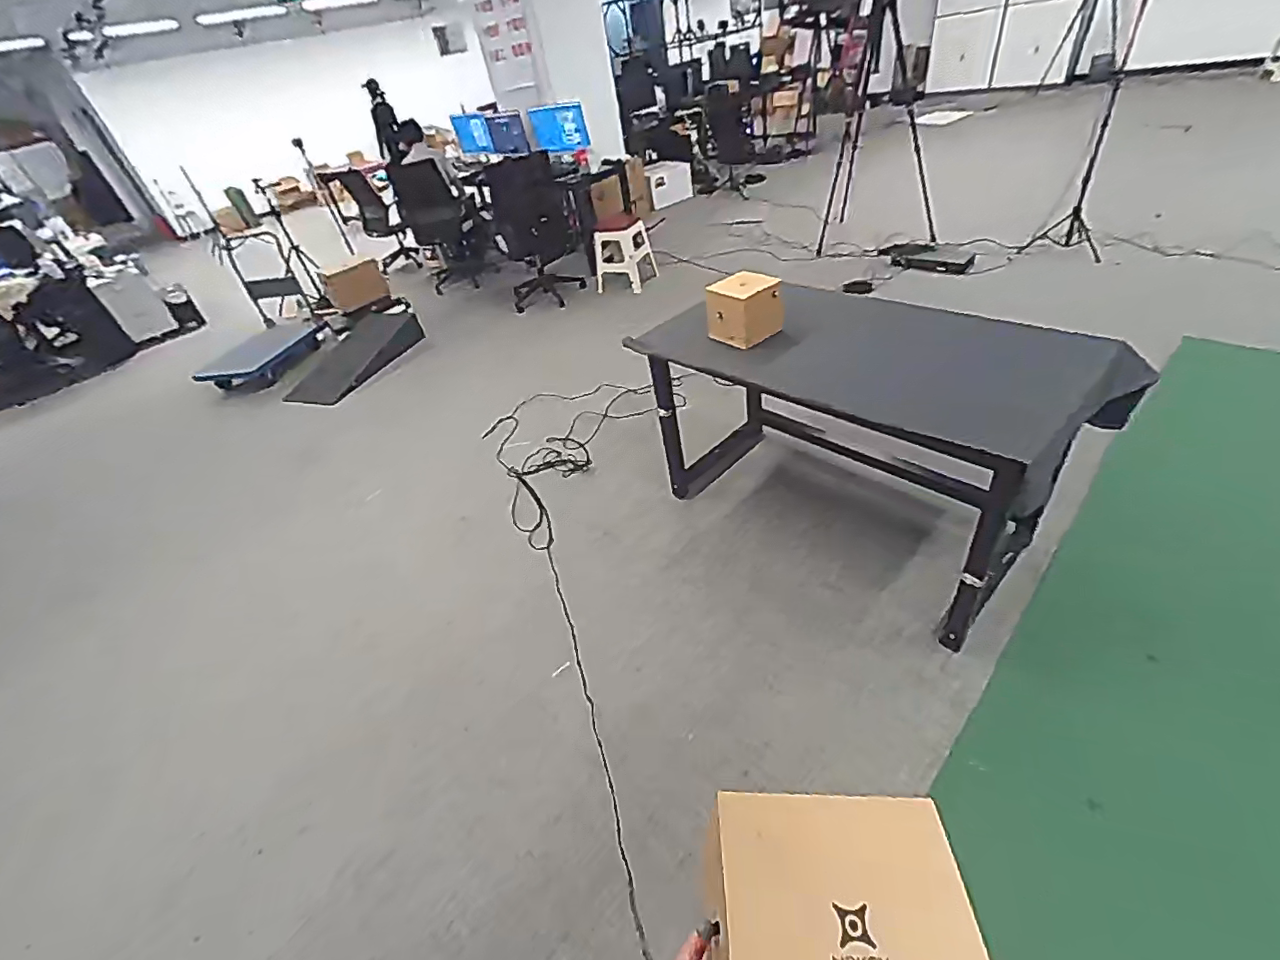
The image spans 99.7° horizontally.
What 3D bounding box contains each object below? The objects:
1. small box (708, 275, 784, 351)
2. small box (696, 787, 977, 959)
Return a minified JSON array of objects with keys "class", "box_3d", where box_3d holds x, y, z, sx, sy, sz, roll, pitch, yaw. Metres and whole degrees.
[{"class":"small box","box_3d":[0.340,-0.528,1.714,0.179,0.176,0.168,-31,43,-24]},{"class":"small box","box_3d":[0.131,0.358,0.403,0.168,0.176,0.179,1,41,2]}]
